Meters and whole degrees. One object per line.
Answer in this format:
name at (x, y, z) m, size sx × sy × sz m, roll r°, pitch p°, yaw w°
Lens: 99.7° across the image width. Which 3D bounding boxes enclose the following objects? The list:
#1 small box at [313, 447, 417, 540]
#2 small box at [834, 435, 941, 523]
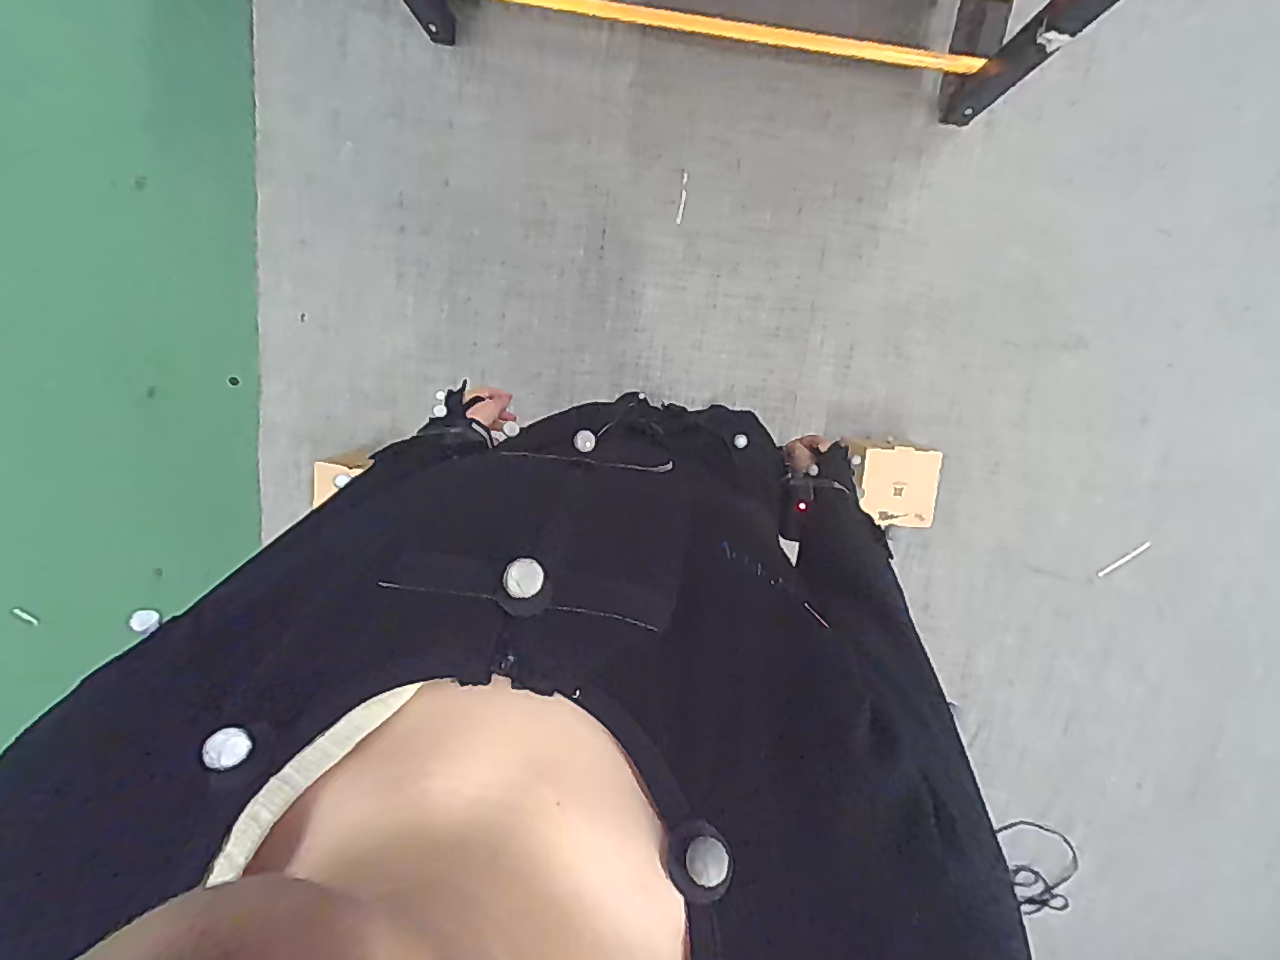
small box at (-0.664, 0.025, 1.321) m, size 0.168 × 0.176 × 0.179 m, roll 11°, pitch 103°, yaw 1°
small box at (0.565, -0.009, 1.258) m, size 0.168 × 0.176 × 0.179 m, roll 3°, pitch 102°, yaw 2°
